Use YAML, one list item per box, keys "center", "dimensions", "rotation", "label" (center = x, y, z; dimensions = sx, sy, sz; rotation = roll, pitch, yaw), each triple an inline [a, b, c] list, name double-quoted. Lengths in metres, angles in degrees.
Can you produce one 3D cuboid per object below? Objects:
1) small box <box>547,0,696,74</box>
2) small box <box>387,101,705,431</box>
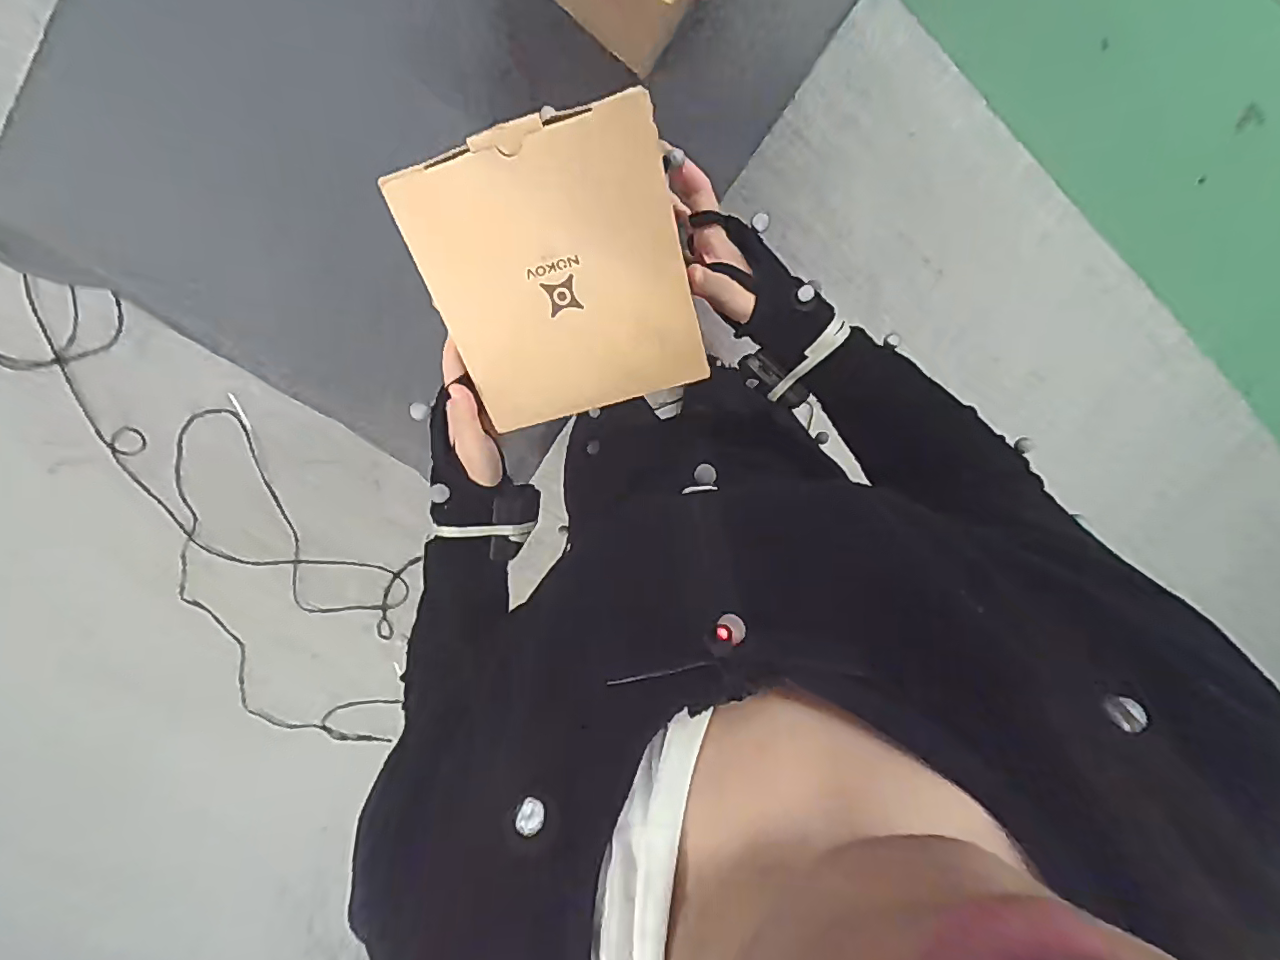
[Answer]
- center: [-0.012, -0.530, 0.498]
  dimensions: [0.179, 0.176, 0.168]
  rotation: [33, 102, -16]
  label: "small box"
- center: [-0.051, -0.166, 0.421]
  dimensions: [0.168, 0.176, 0.179]
  rotation: [-14, 120, 8]
  label: "small box"
